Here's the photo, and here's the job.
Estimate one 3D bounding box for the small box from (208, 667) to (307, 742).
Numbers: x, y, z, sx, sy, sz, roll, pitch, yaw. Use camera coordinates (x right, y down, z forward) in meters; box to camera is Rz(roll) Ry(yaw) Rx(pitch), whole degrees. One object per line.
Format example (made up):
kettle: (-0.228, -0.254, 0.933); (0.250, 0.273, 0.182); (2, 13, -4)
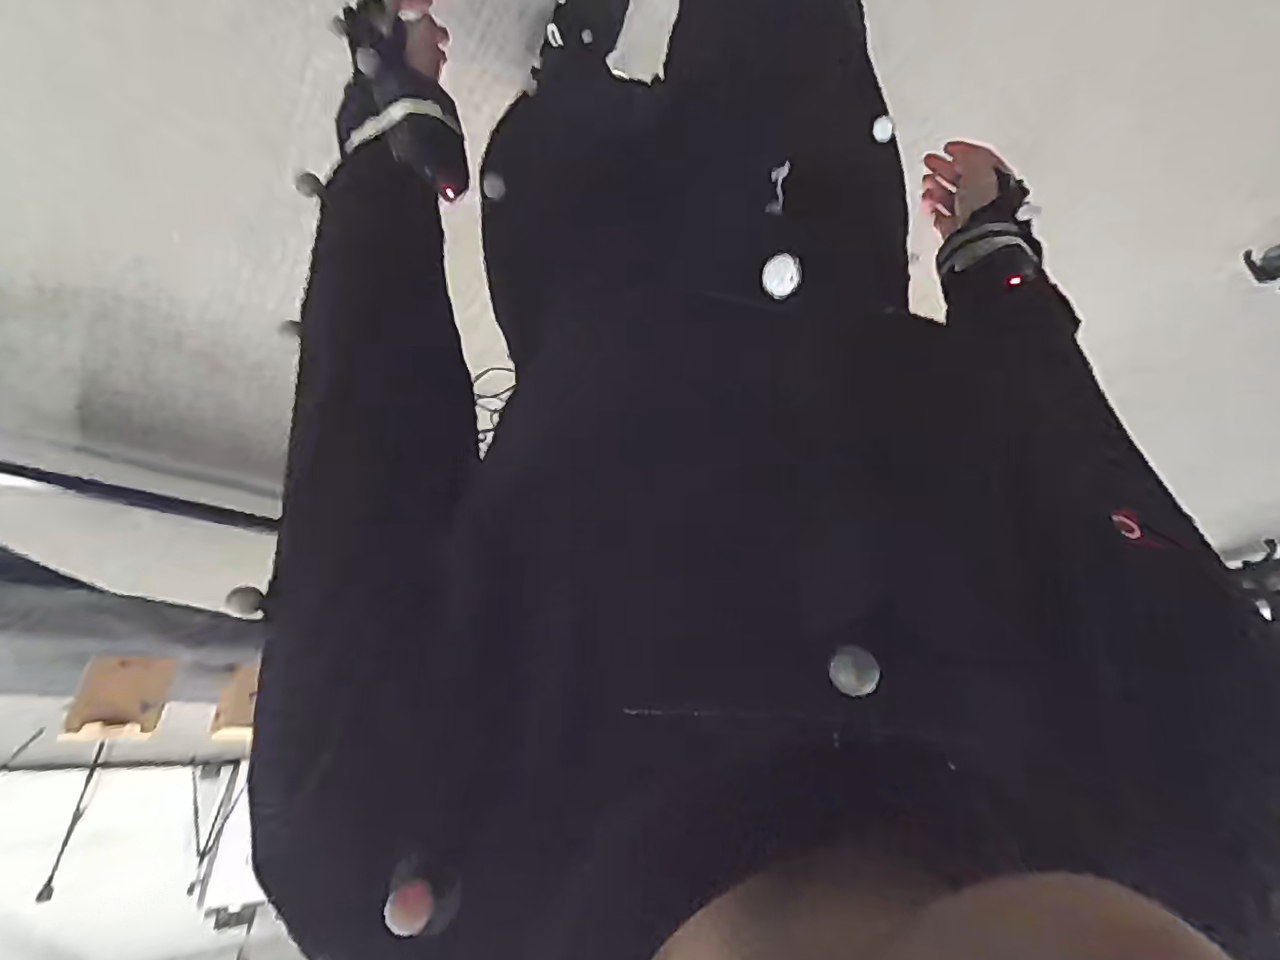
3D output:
small box: (-1.045, 0.620, 1.488); (0.168, 0.176, 0.179); (25, 139, -38)
